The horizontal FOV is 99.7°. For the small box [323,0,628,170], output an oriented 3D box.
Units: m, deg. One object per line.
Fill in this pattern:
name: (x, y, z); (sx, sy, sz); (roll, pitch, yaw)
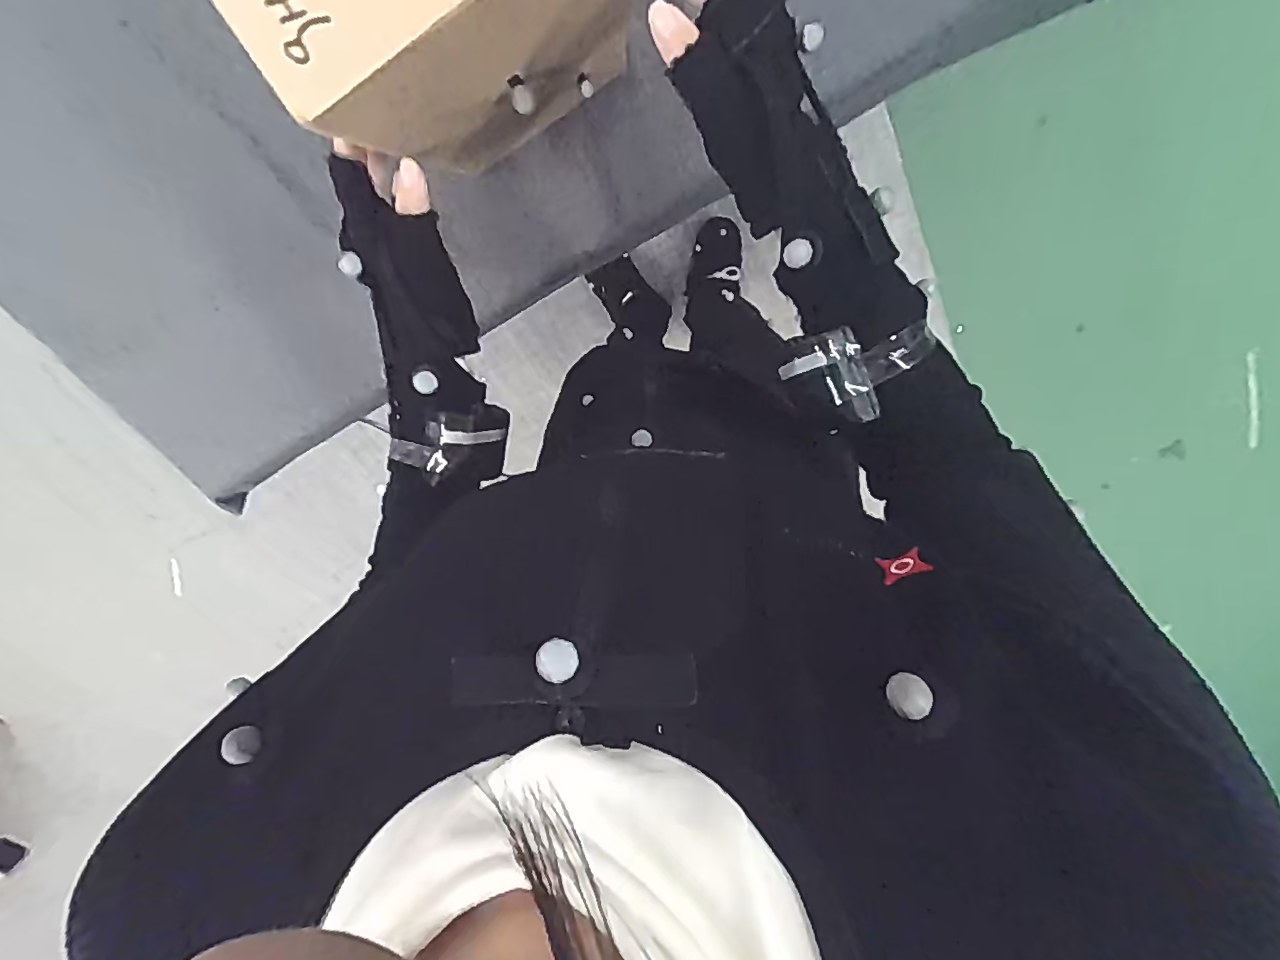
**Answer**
small box: (-0.123, -0.373, 0.421); (0.179, 0.176, 0.168); (-28, 113, 14)
